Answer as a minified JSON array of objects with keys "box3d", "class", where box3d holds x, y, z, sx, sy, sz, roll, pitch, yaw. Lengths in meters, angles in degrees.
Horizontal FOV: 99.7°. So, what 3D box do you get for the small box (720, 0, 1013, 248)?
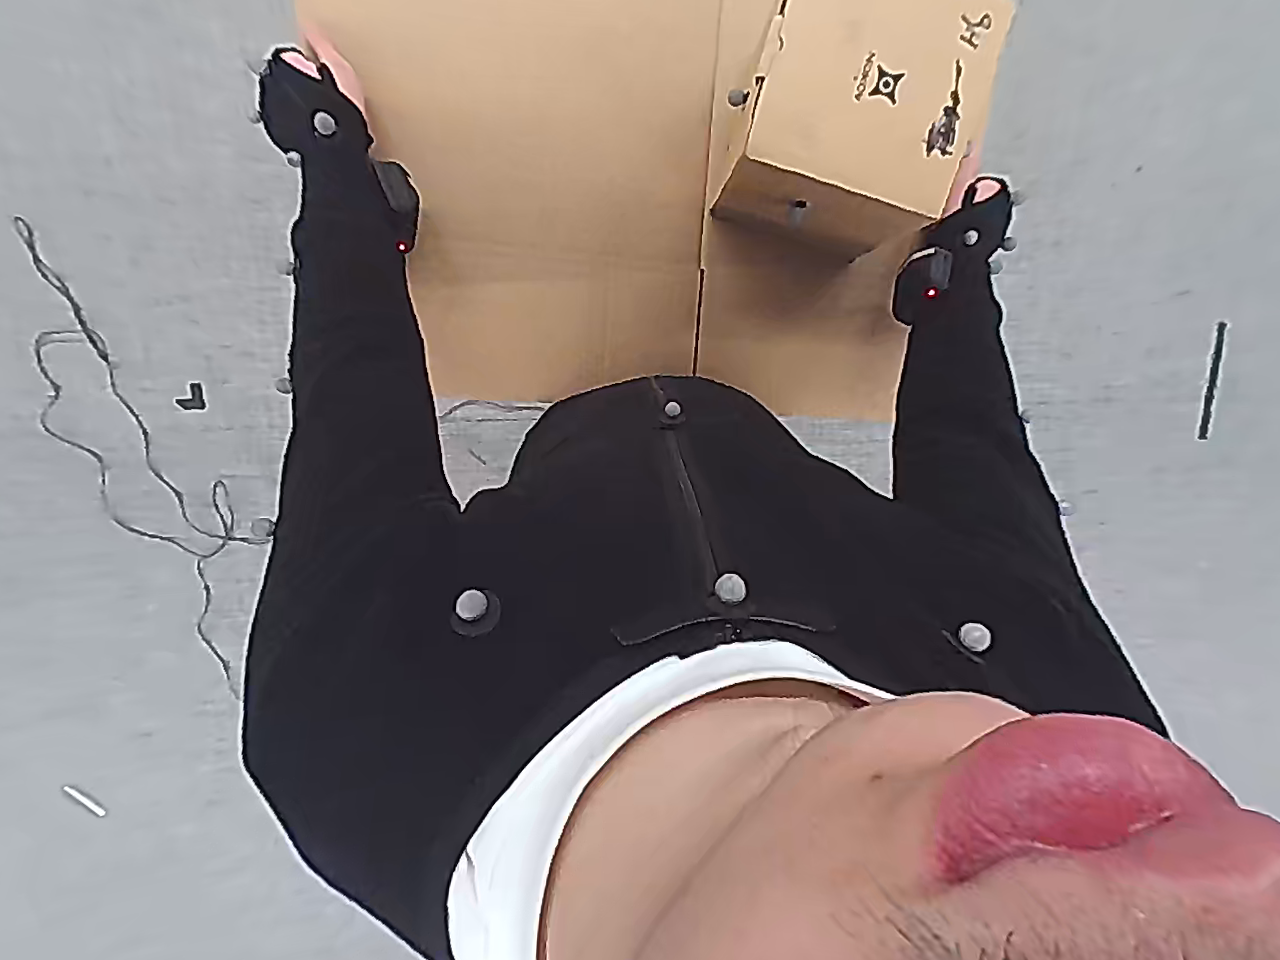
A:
[{"box3d":[0.187,-0.337,0.510,0.179,0.176,0.168,15,101,-4],"class":"small box"}]
